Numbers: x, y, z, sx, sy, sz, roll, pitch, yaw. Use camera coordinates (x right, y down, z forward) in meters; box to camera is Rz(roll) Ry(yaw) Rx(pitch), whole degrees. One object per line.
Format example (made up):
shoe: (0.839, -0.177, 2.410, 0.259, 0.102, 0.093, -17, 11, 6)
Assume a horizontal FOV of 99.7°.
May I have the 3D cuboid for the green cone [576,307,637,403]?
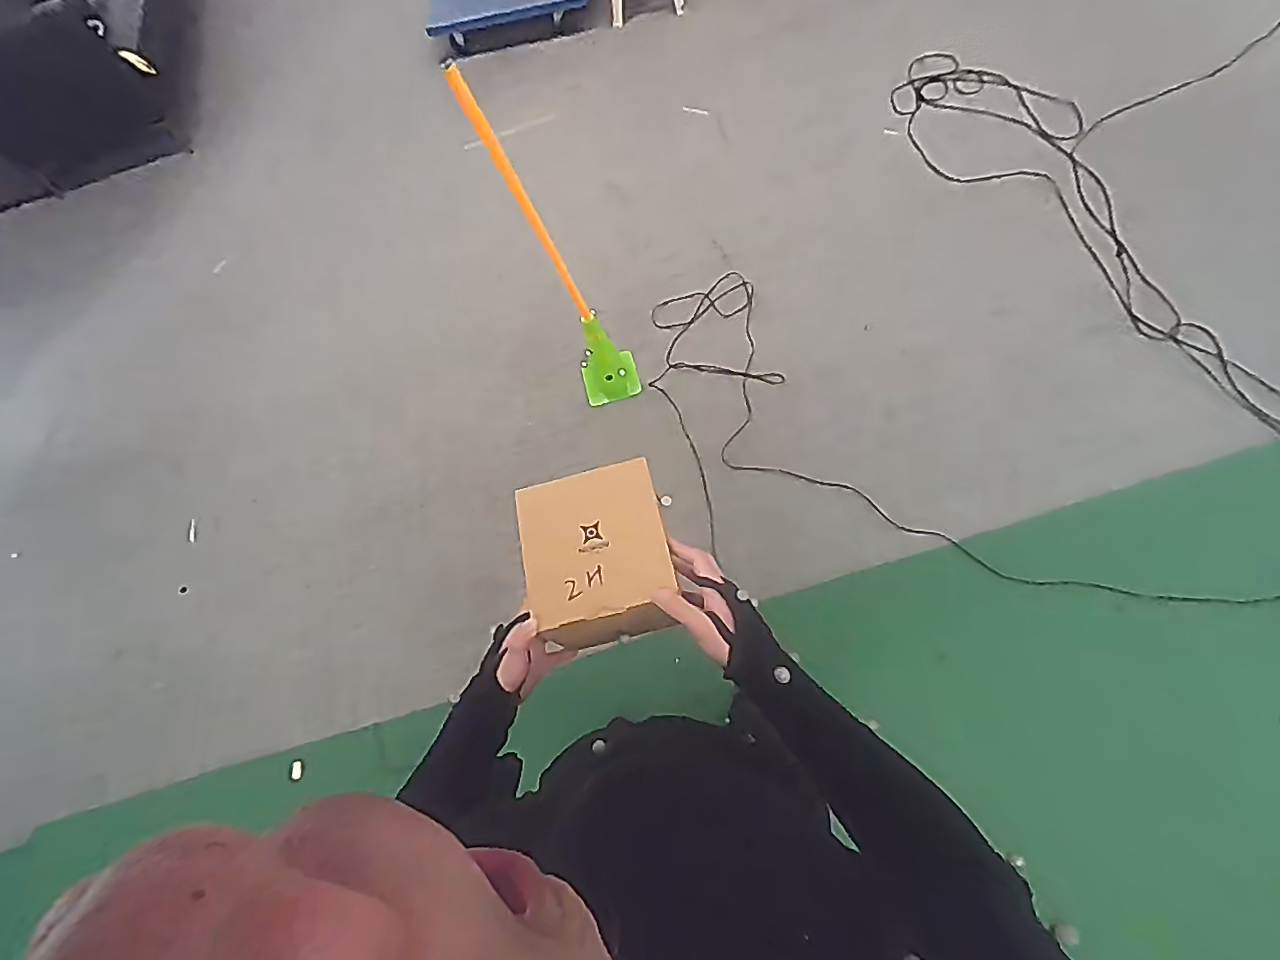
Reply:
green cone: (-0.149, -0.449, 1.834, 0.202, 0.368, 0.200, -17, 67, 1)
